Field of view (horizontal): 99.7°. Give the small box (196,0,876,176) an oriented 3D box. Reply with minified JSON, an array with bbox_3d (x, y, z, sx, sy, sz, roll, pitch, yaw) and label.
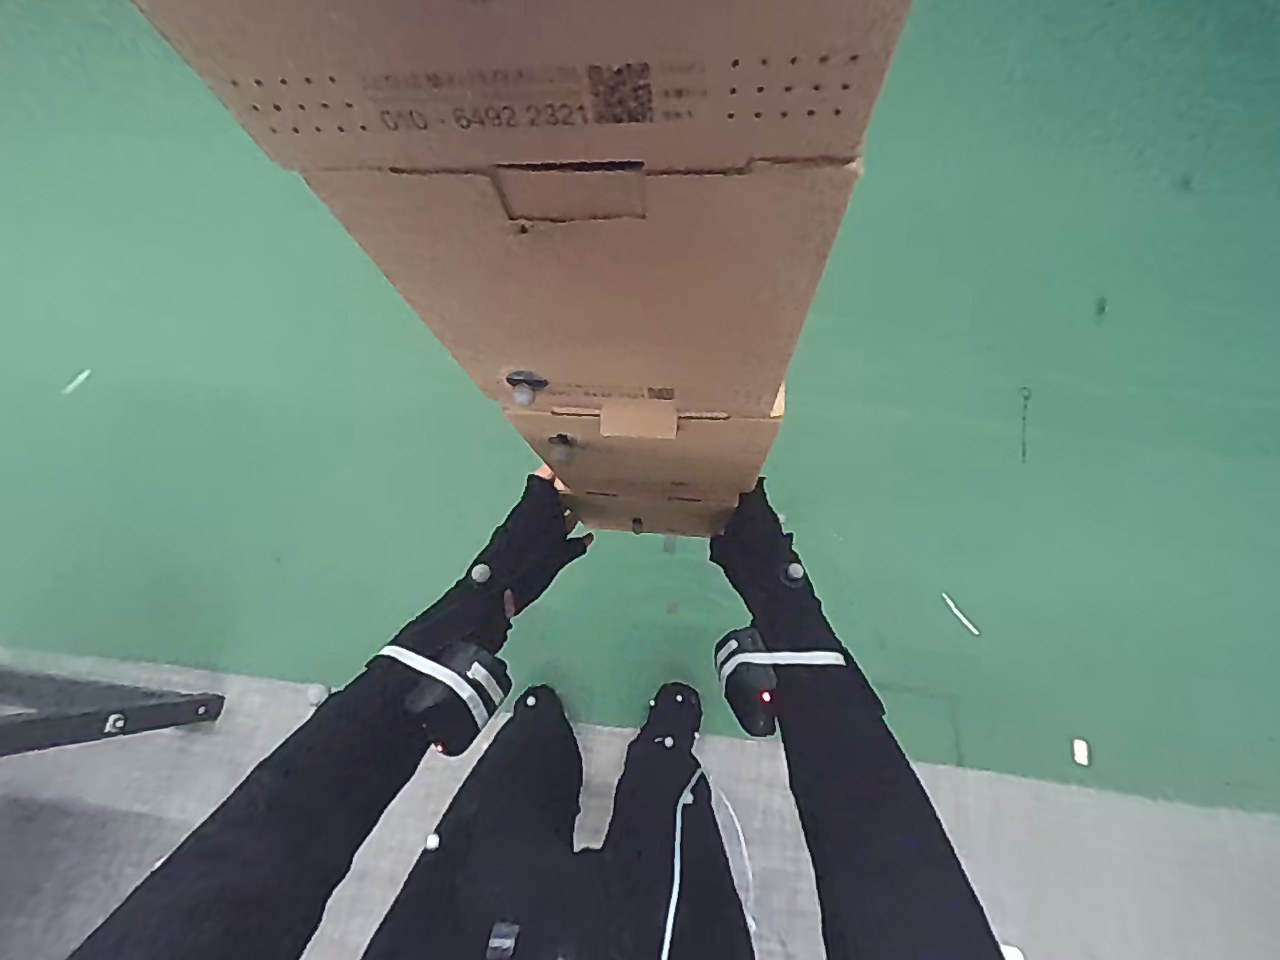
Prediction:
[{"bbox_3d":[-0.028,-0.196,0.107,0.168,0.176,0.179,2,74,6],"label":"small box"}]

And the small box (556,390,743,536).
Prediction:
[{"bbox_3d":[0.018,-0.045,0.575,0.168,0.176,0.179,4,75,6],"label":"small box"}]

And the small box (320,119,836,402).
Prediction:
[{"bbox_3d":[-0.009,-0.149,0.264,0.168,0.176,0.179,3,73,6],"label":"small box"}]
